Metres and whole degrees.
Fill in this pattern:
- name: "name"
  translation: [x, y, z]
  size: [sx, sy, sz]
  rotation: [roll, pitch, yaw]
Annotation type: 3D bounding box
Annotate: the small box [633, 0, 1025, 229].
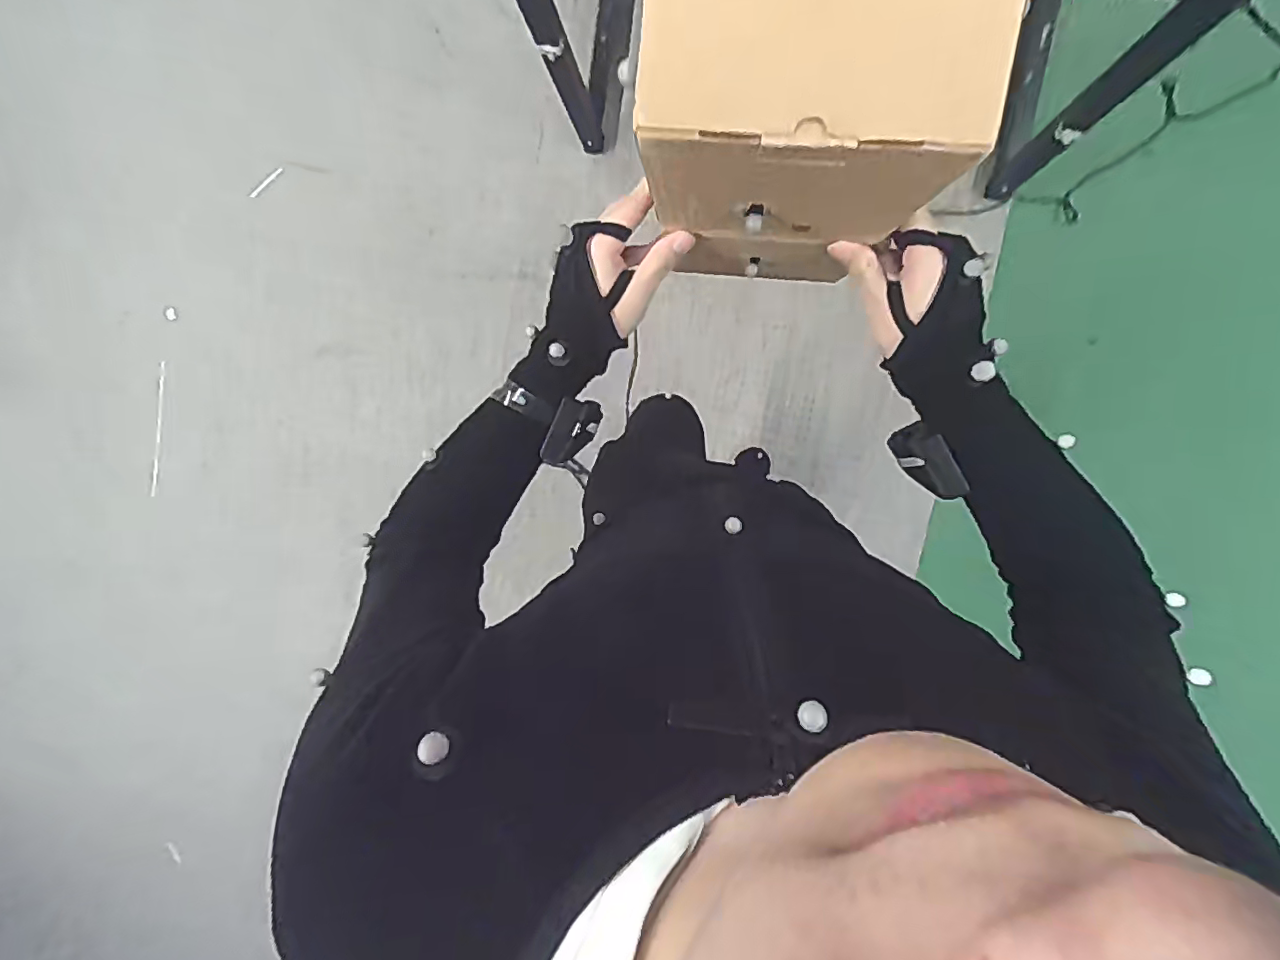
- name: "small box"
  translation: [0.092, -0.260, 0.305]
  size: [0.168, 0.176, 0.179]
  rotation: [6, 103, 5]
